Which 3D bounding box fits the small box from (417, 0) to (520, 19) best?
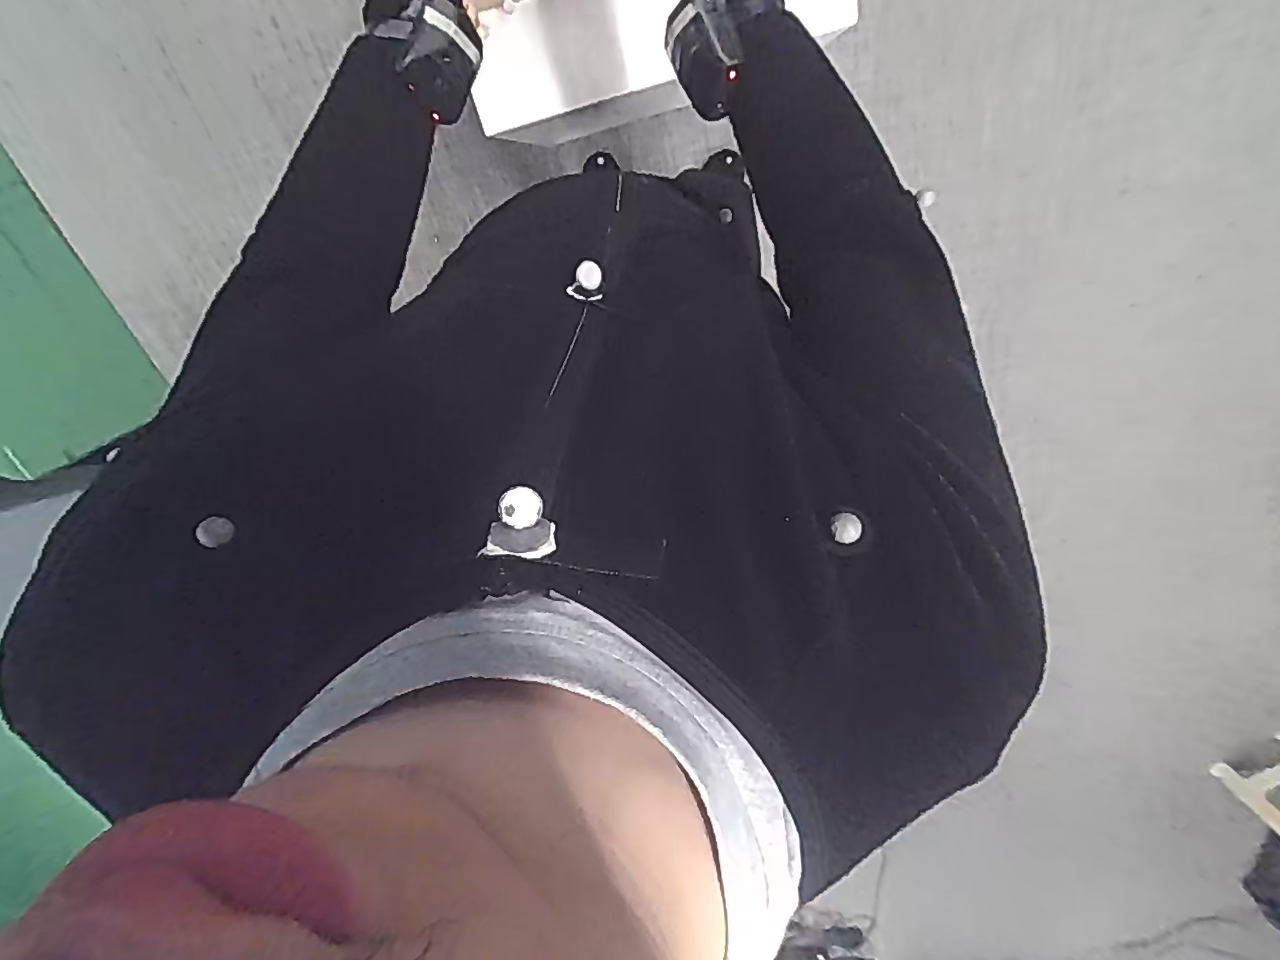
[{"bbox_3d":[-0.182,-0.624,0.566,0.179,0.176,0.168,-12,119,6],"label":"small box"}]
